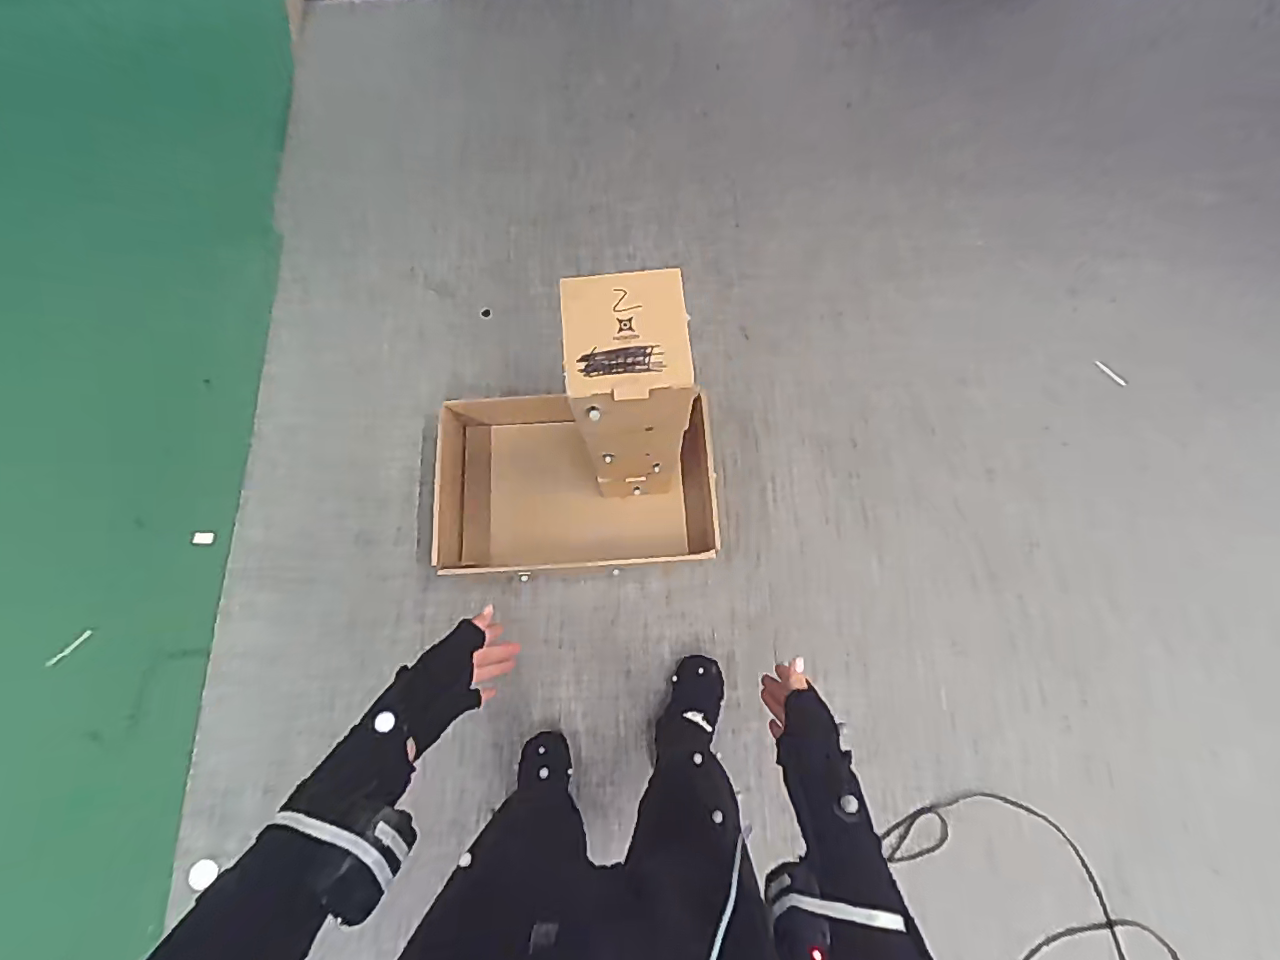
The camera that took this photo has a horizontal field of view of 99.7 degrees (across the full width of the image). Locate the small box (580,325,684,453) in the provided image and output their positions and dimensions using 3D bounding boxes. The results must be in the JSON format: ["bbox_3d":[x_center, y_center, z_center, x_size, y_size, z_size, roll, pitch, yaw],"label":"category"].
[{"bbox_3d":[-0.012,-0.148,0.940,0.168,0.176,0.179,-2,76,0],"label":"small box"}]

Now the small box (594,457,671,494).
[{"bbox_3d":[-0.018,-0.071,1.260,0.168,0.176,0.179,-8,75,1],"label":"small box"}]

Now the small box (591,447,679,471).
[{"bbox_3d":[-0.008,-0.119,1.084,0.168,0.176,0.179,-3,76,1],"label":"small box"}]
